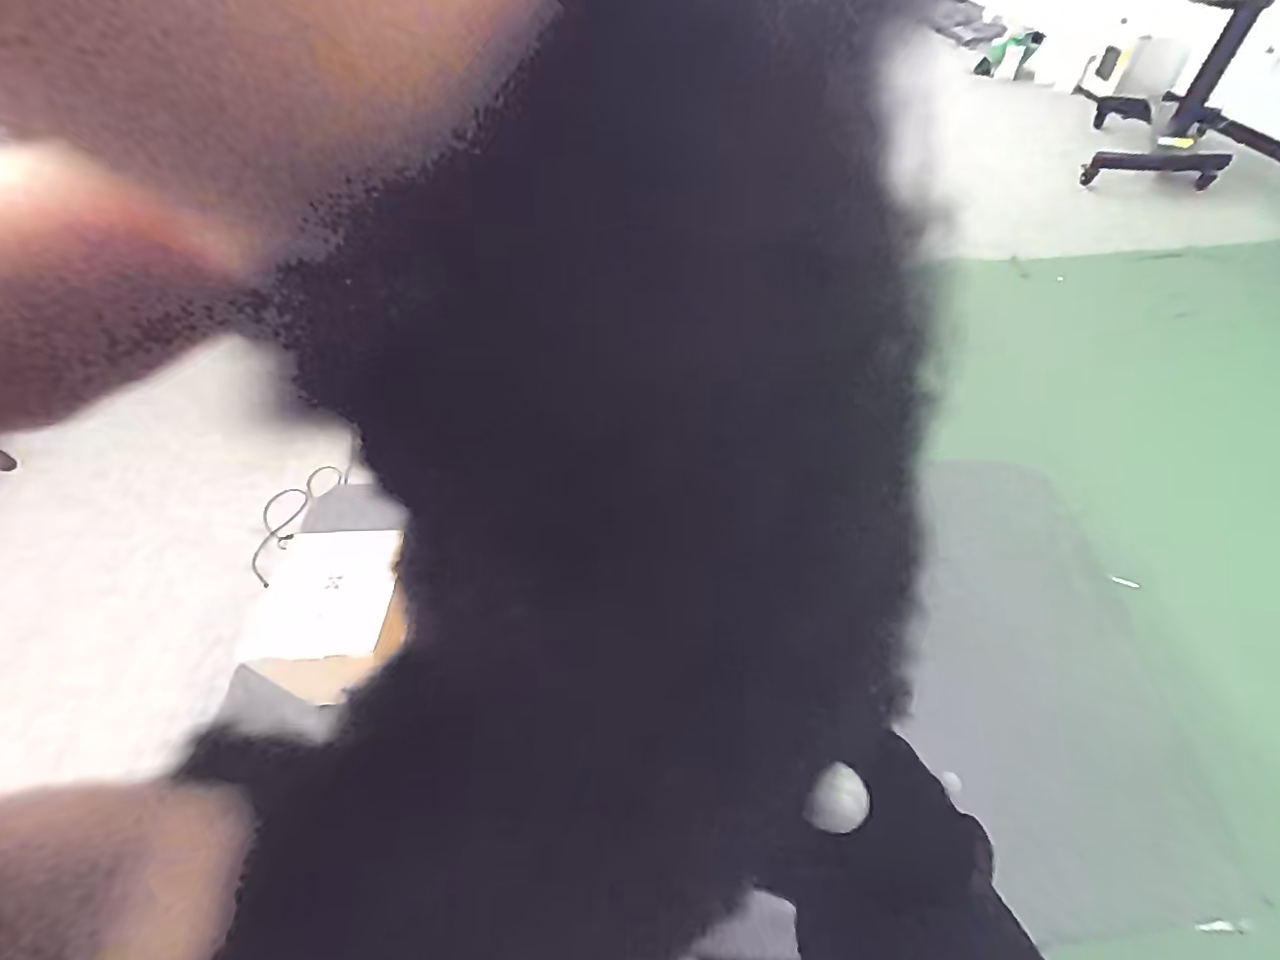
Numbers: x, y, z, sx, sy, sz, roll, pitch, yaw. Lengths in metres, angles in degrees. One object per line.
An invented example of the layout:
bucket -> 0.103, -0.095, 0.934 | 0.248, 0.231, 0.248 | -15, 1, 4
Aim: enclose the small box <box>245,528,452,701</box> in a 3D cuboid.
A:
small box -> -0.373, 0.183, 0.736 | 0.168, 0.176, 0.179 | -2, 50, 3
